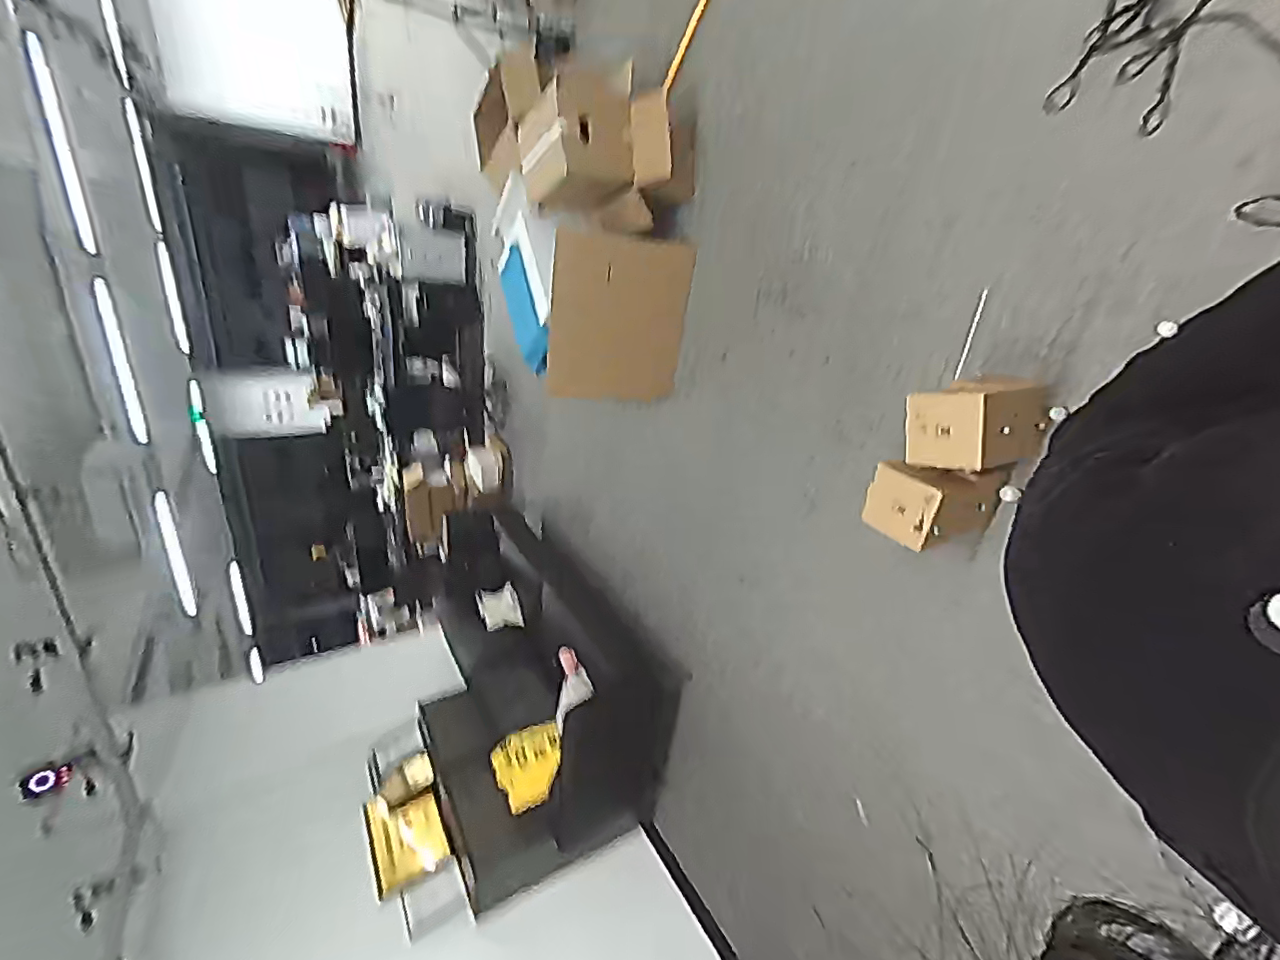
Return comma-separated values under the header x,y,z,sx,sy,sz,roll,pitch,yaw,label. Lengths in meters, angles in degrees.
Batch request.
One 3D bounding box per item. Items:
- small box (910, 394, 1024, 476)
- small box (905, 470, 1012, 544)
x,y,z,sx,sy,sz,roll,pitch,yaw,label
0.757,-0.109,1.252,0.179,0.176,0.168,11,108,58,small box
0.853,0.045,1.446,0.168,0.176,0.179,37,129,49,small box
